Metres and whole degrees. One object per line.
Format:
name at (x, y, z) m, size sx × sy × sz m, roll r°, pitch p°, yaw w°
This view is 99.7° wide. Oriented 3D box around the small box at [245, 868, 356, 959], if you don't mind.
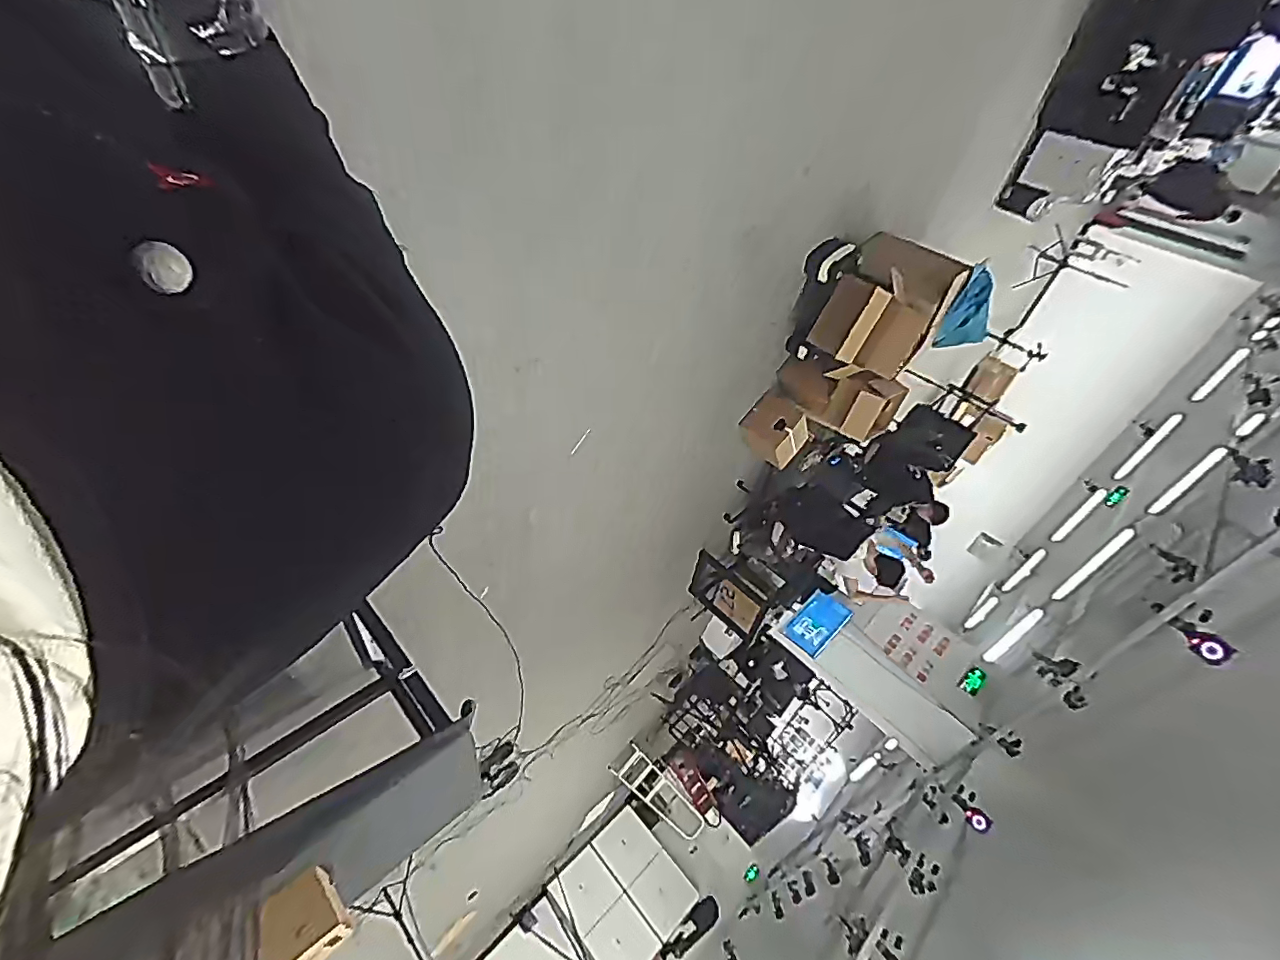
small box at (-0.877, 1.160, 1.403) m, size 0.179 × 0.176 × 0.168 m, roll -30°, pitch 146°, yaw -35°
